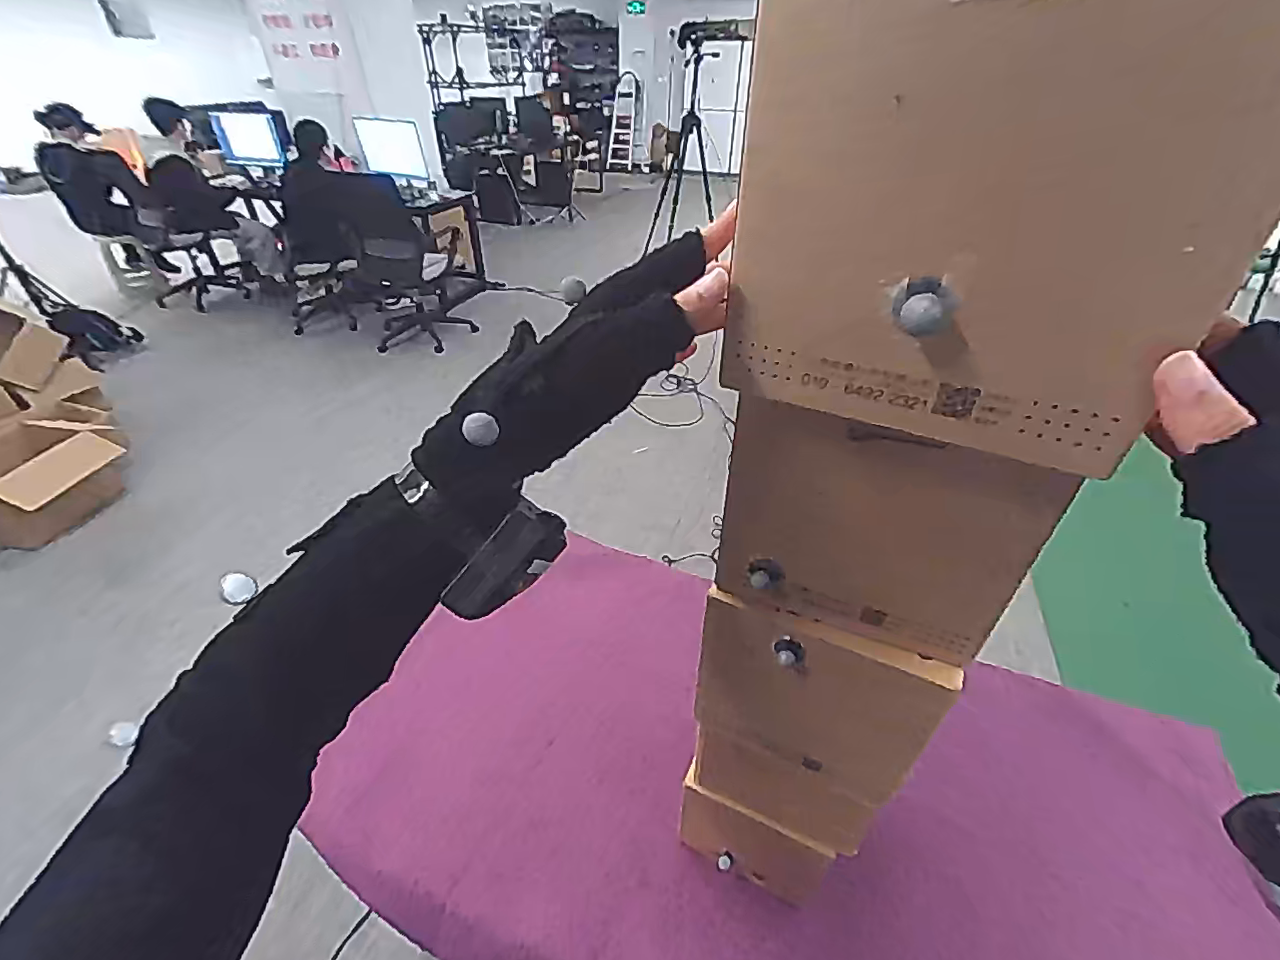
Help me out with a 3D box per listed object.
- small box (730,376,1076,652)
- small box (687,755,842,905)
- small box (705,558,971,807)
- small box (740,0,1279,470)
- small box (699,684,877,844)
[{"bbox_3d":[0.164,-0.016,0.369,0.168,0.176,0.179,15,38,19],"label":"small box"},{"bbox_3d":[0.163,0.370,0.671,0.168,0.176,0.179,16,41,21],"label":"small box"},{"bbox_3d":[0.161,0.124,0.457,0.168,0.176,0.179,17,39,22],"label":"small box"},{"bbox_3d":[0.155,-0.133,0.251,0.168,0.176,0.179,18,41,23],"label":"small box"},{"bbox_3d":[0.170,0.242,0.572,0.179,0.176,0.168,16,40,20],"label":"small box"}]
